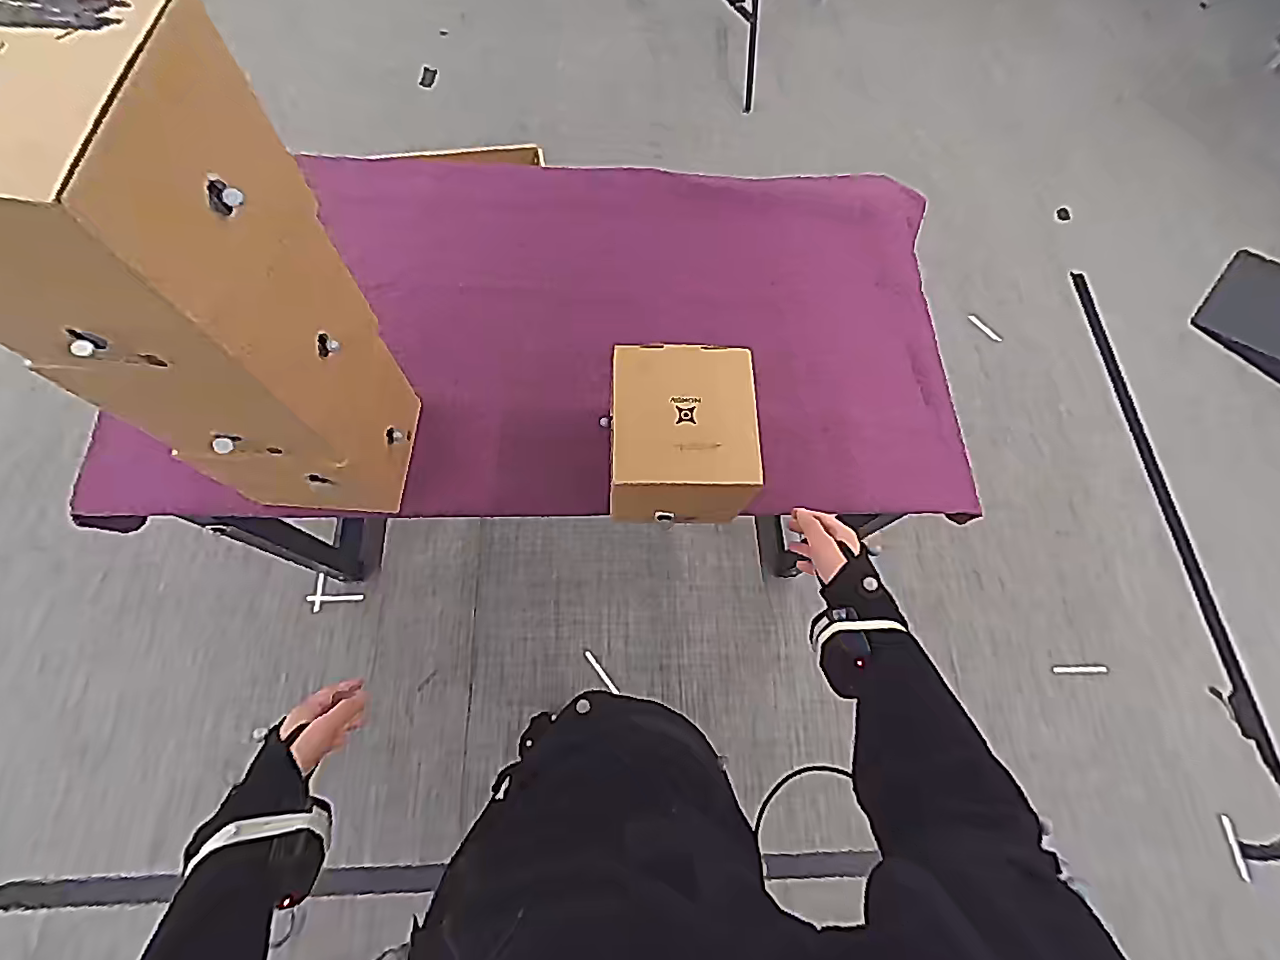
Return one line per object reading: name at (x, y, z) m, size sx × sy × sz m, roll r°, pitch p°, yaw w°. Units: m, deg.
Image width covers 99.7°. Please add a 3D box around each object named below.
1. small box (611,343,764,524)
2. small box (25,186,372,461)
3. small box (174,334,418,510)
small box at (0.048, -0.051, 0.684) m, size 0.168 × 0.176 × 0.179 m, roll 0°, pitch 71°, yaw -3°
small box at (-0.372, -0.132, 0.503) m, size 0.168 × 0.176 × 0.179 m, roll 3°, pitch 70°, yaw -4°
small box at (-0.388, -0.067, 0.653) m, size 0.179 × 0.176 × 0.168 m, roll 4°, pitch 69°, yaw -3°
